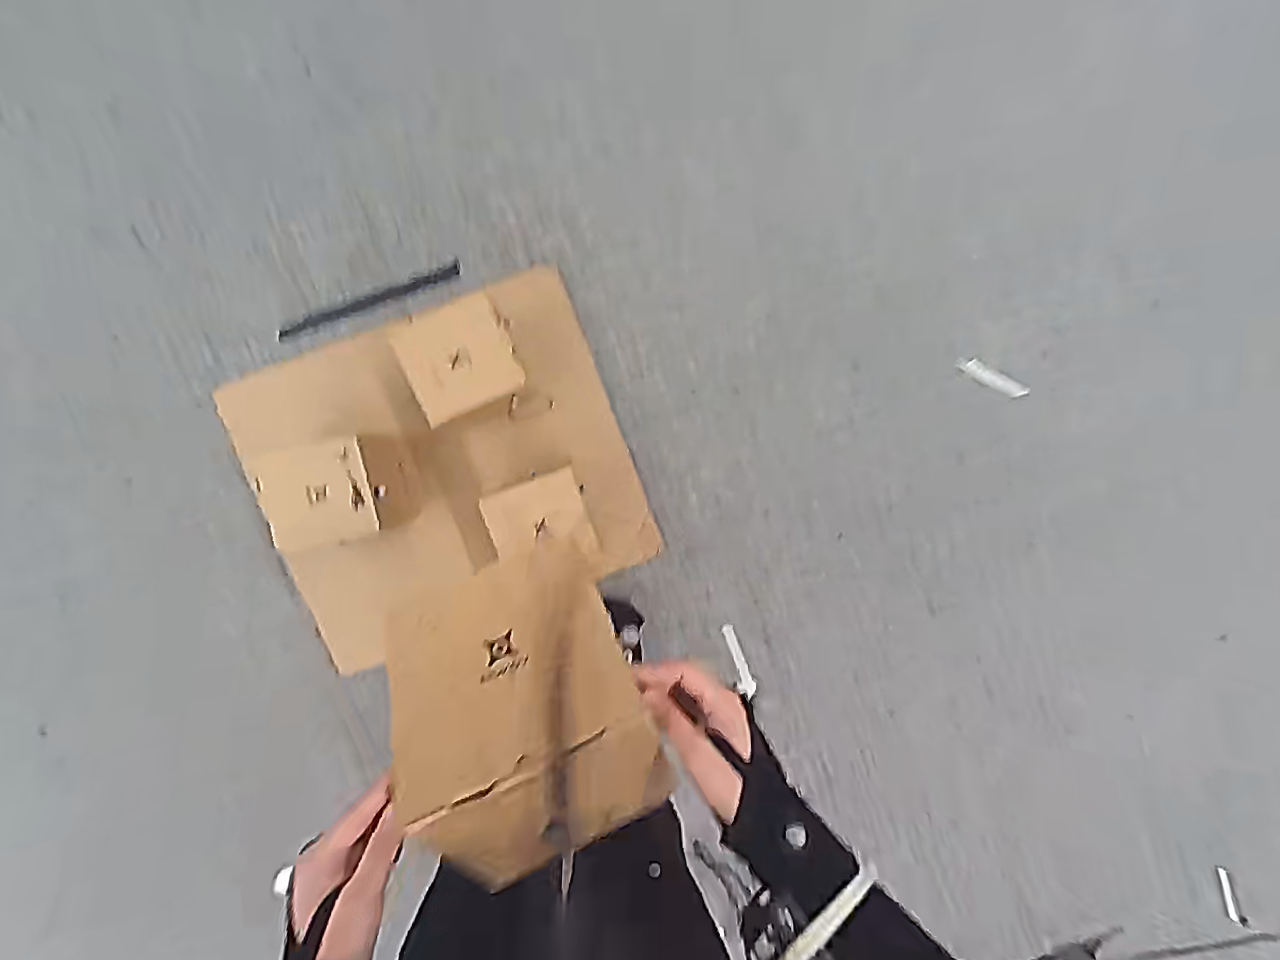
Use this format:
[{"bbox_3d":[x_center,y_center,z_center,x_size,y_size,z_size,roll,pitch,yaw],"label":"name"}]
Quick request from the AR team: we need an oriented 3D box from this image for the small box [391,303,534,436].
[{"bbox_3d":[-0.302,-0.188,0.968,0.179,0.176,0.168,-26,94,-2],"label":"small box"}]

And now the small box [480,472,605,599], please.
[{"bbox_3d":[-0.170,0.090,0.994,0.168,0.176,0.179,-21,96,-1],"label":"small box"}]

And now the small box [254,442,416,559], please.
[{"bbox_3d":[-0.531,0.030,0.966,0.179,0.176,0.168,-12,95,-1],"label":"small box"}]
